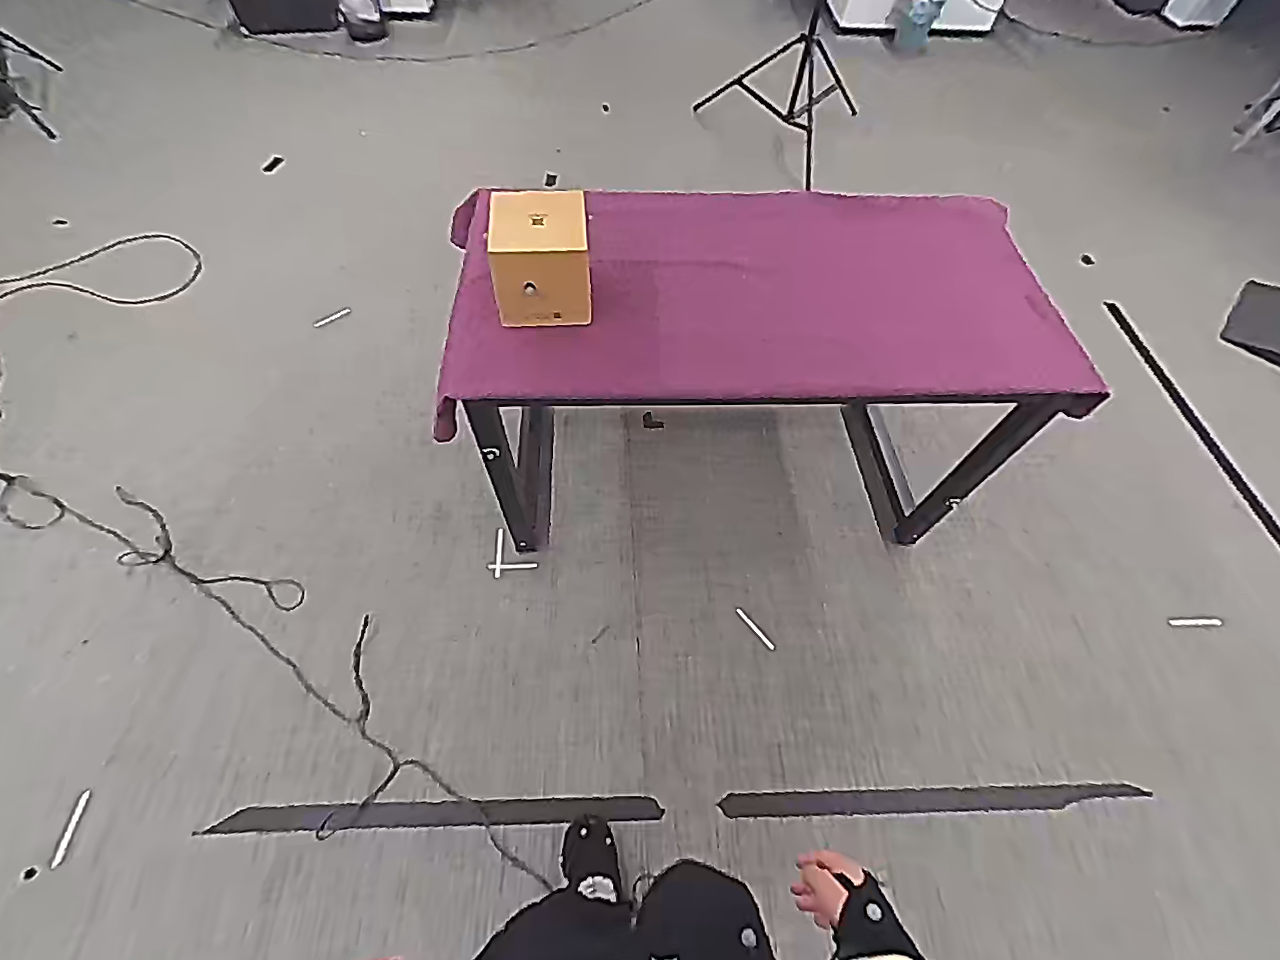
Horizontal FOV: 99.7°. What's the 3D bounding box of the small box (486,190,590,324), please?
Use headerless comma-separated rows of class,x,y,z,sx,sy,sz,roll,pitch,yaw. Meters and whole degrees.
small box,-0.181,-0.405,1.000,0.168,0.176,0.179,-4,59,-5
